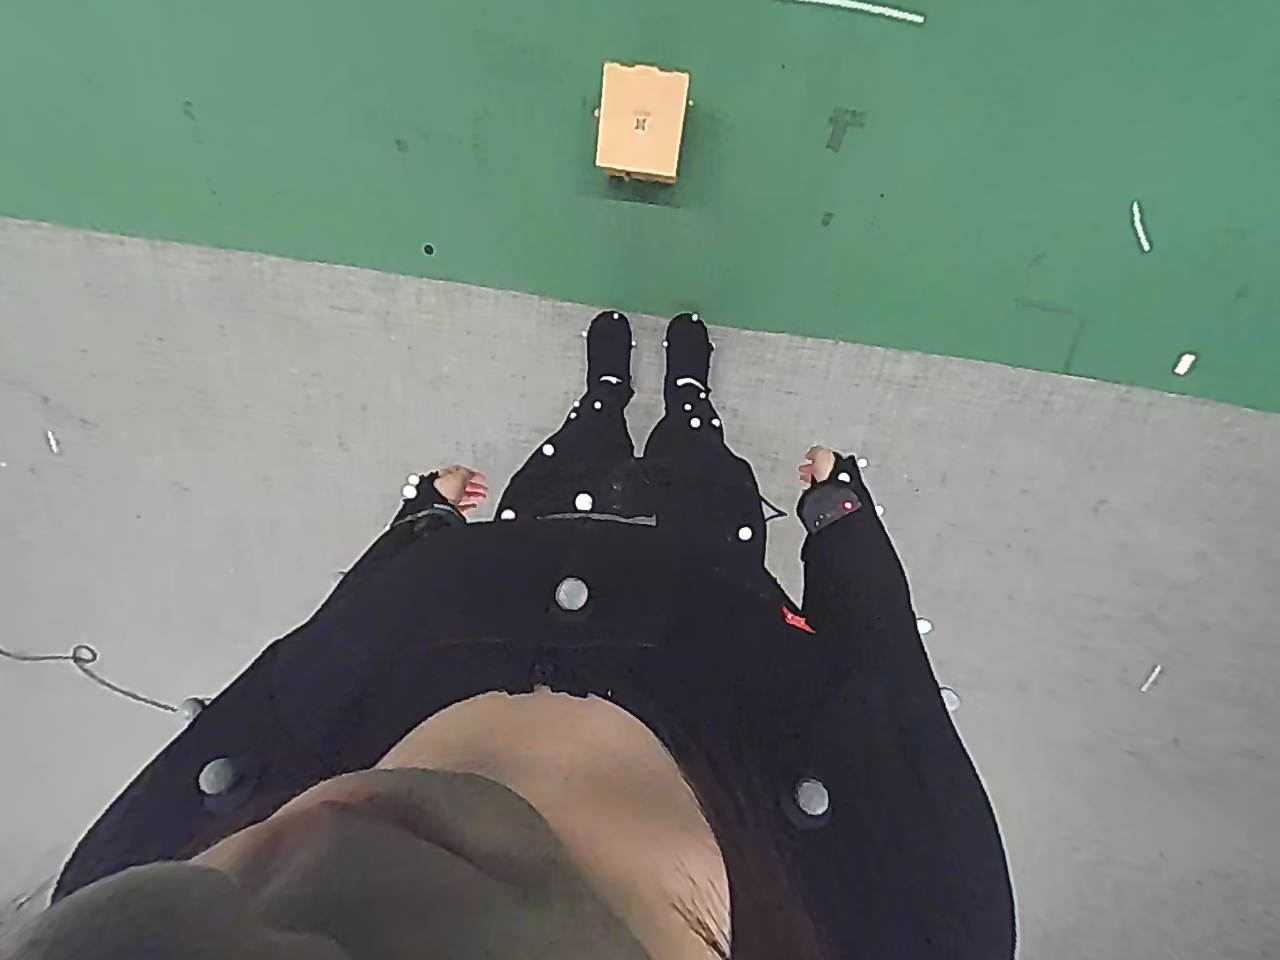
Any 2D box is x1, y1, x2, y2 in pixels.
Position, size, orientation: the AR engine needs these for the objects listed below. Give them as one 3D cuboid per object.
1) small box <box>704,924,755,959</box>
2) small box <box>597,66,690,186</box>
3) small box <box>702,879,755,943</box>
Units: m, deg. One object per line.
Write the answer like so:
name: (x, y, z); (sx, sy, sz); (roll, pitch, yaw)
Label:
small box: (0.343, 1.857, 2.083); (0.168, 0.176, 0.179); (10, 115, -1)
small box: (0.011, -0.724, 1.126); (0.168, 0.176, 0.179); (9, 114, 1)
small box: (0.358, 1.789, 2.232); (0.179, 0.176, 0.168); (9, 114, -2)
